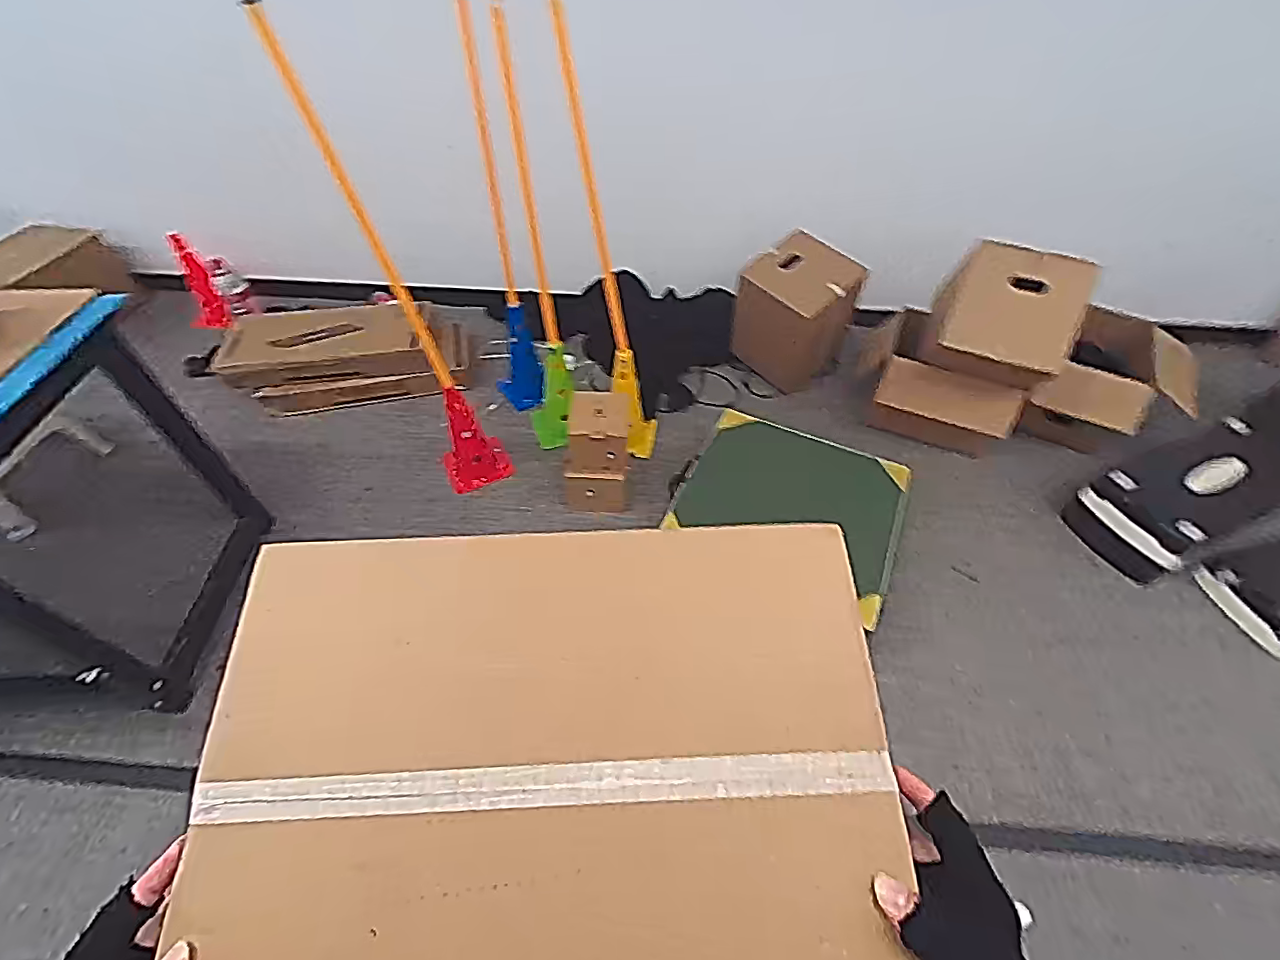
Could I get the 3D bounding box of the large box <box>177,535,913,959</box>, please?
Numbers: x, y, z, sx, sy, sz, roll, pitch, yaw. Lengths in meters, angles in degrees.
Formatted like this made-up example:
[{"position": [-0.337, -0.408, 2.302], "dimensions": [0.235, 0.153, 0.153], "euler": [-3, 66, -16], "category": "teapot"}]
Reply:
[{"position": [-0.055, 0.252, 0.459], "dimensions": [0.408, 0.320, 0.320], "euler": [-2, 65, -1], "category": "large box"}]
